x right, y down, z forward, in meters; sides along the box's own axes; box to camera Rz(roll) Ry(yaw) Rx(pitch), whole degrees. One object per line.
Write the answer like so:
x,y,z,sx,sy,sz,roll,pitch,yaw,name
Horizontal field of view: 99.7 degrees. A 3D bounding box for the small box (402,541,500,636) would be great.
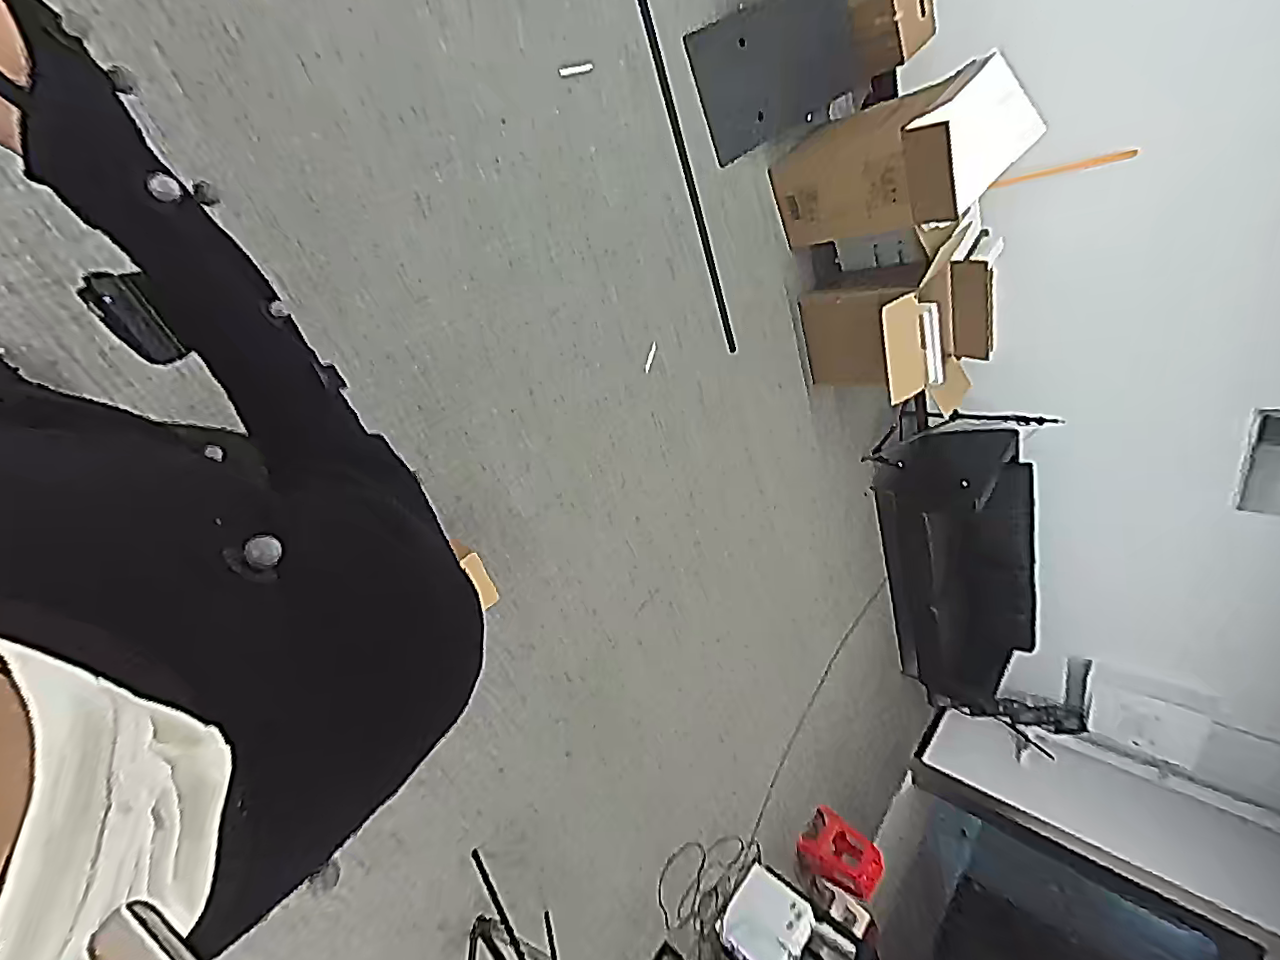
-0.527,0.293,1.504,0.168,0.176,0.179,-37,121,-34,small box
